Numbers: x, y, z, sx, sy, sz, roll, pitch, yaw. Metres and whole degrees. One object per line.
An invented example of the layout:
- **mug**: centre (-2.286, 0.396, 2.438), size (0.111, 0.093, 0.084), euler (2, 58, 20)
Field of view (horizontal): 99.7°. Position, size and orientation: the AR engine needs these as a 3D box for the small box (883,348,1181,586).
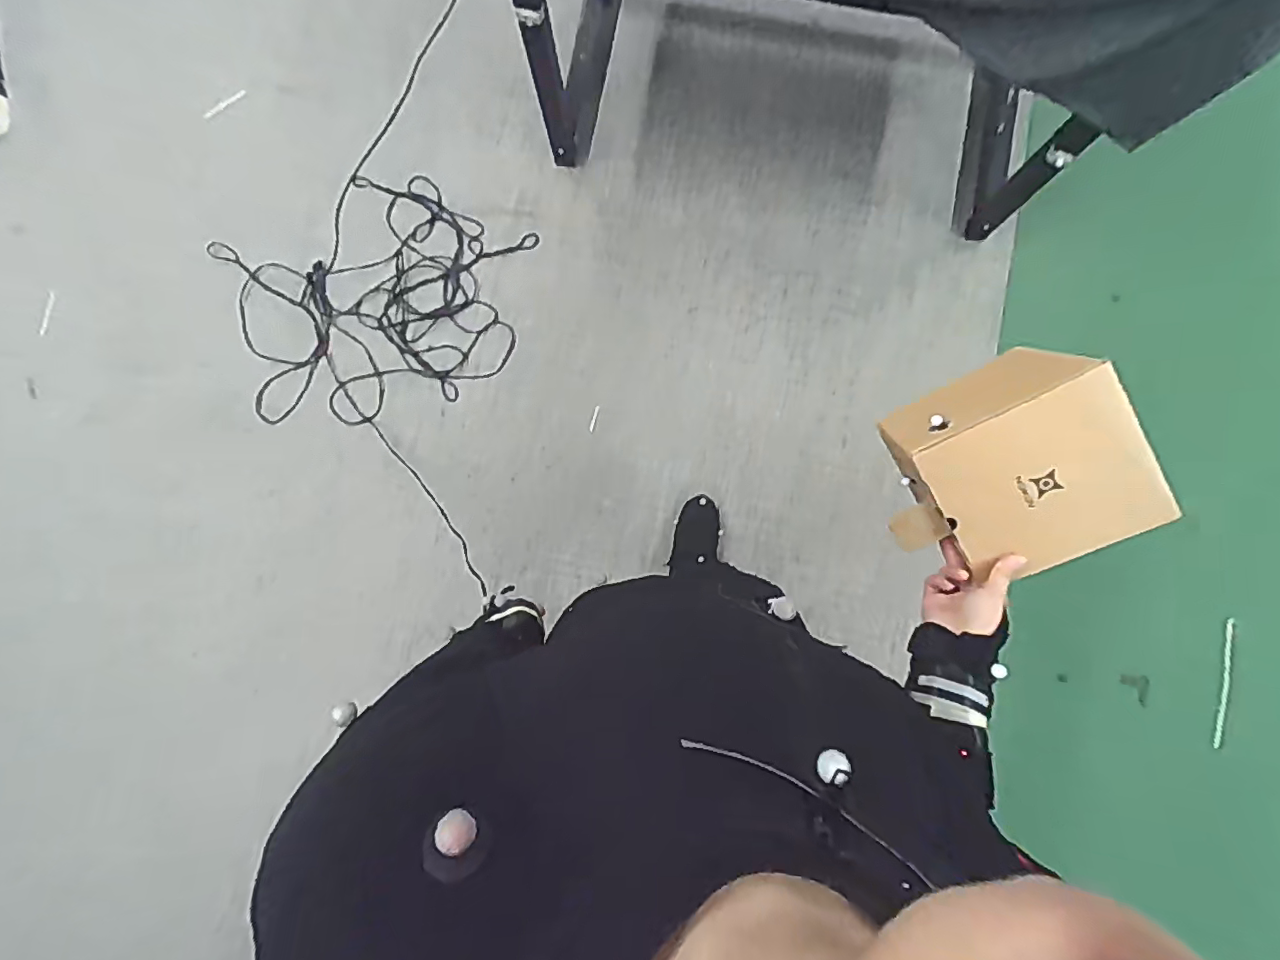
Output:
- **small box**: centre (0.390, -0.024, 0.574), size (0.179, 0.176, 0.168), euler (-30, 100, 20)
